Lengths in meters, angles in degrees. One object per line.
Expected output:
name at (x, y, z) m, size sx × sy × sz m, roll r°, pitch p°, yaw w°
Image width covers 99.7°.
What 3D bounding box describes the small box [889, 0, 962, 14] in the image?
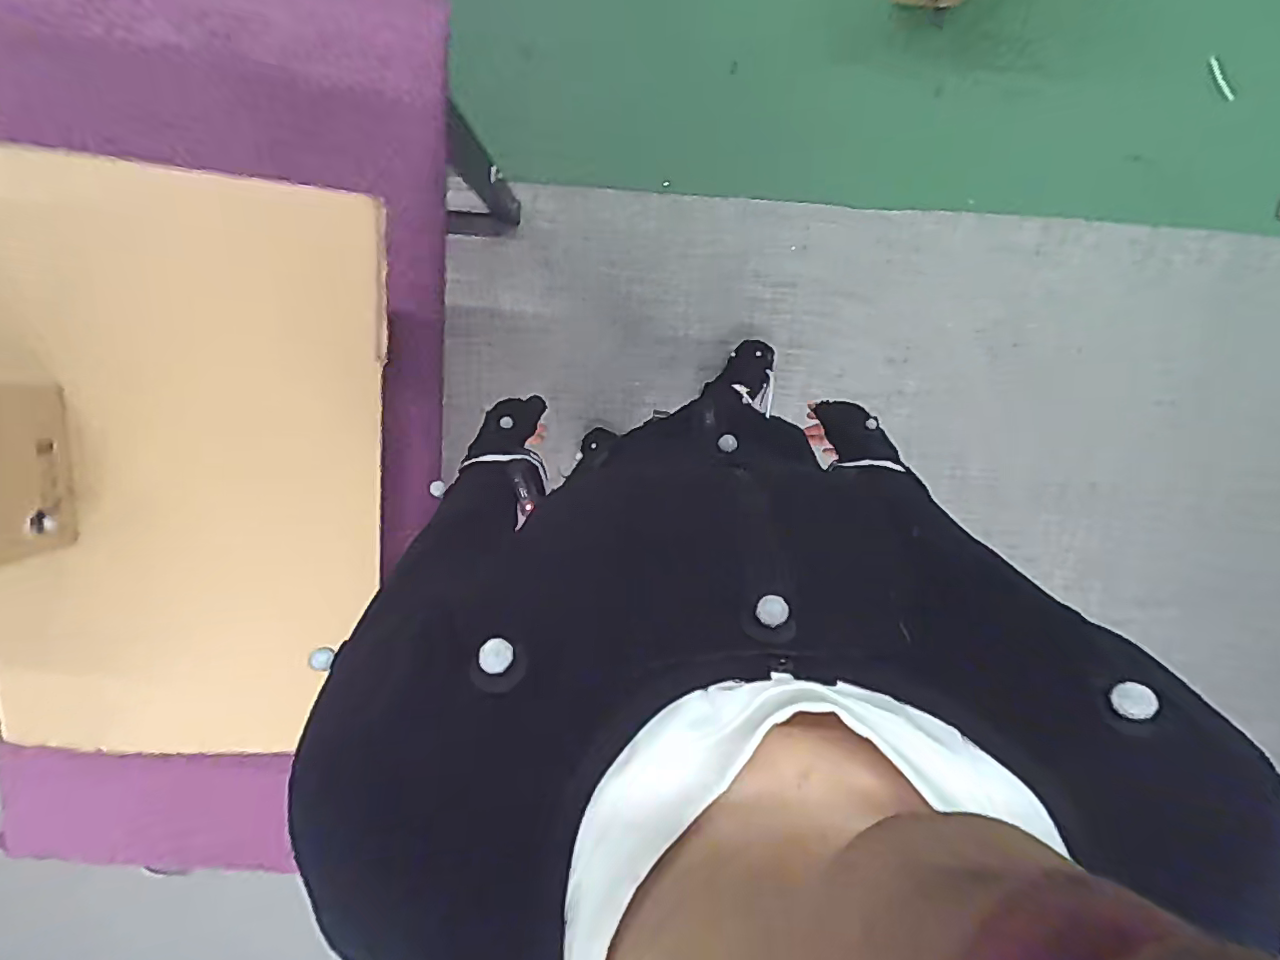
small box at (0.664, -1.177, 1.181) m, size 0.168 × 0.176 × 0.179 m, roll 2°, pitch 101°, yaw -1°
